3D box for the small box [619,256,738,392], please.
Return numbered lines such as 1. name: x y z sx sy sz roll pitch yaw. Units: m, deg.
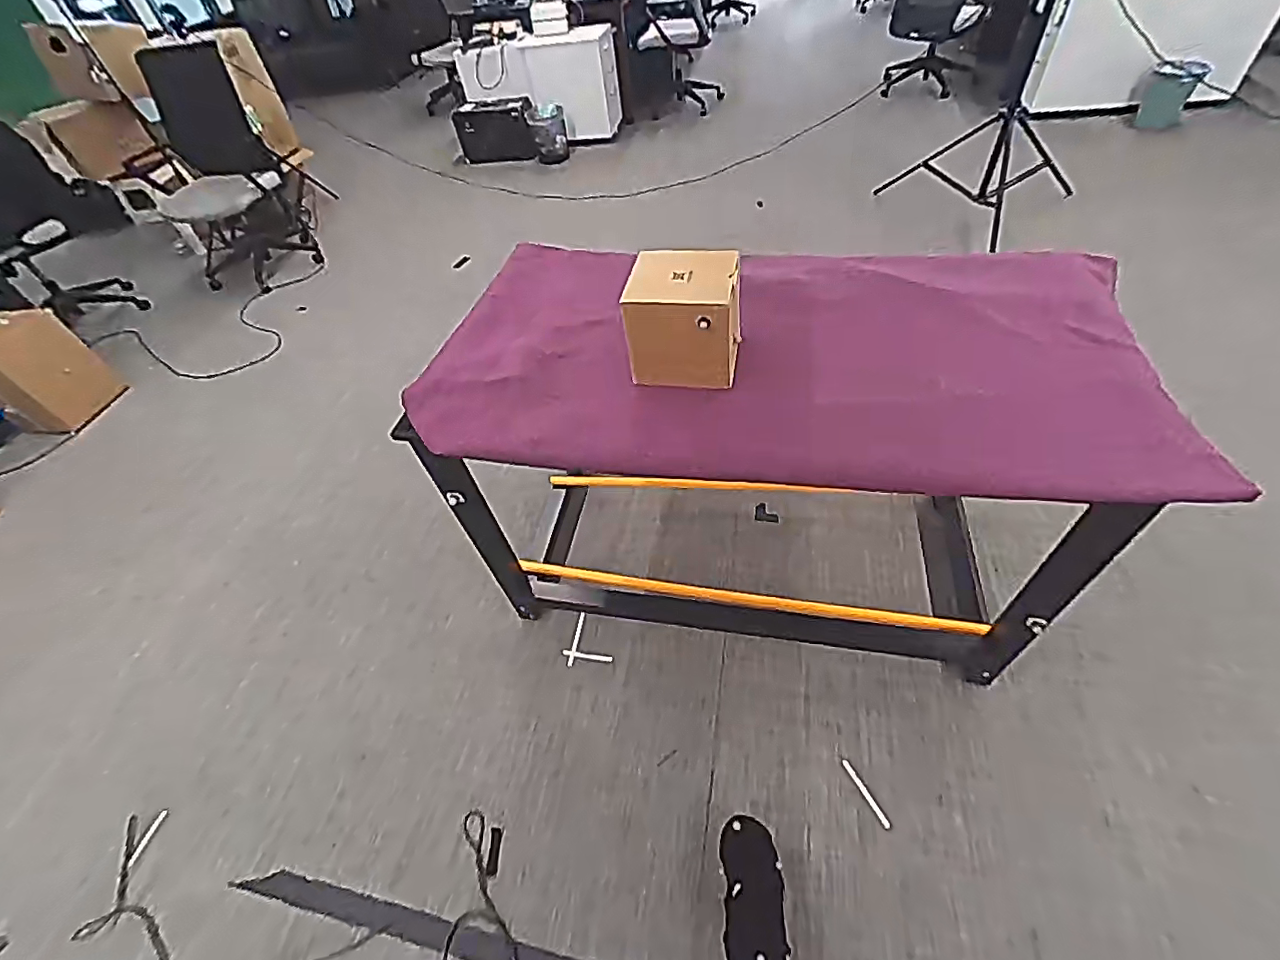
1. small box: 0.075 -0.271 0.944 0.179 0.176 0.168 5 50 12
